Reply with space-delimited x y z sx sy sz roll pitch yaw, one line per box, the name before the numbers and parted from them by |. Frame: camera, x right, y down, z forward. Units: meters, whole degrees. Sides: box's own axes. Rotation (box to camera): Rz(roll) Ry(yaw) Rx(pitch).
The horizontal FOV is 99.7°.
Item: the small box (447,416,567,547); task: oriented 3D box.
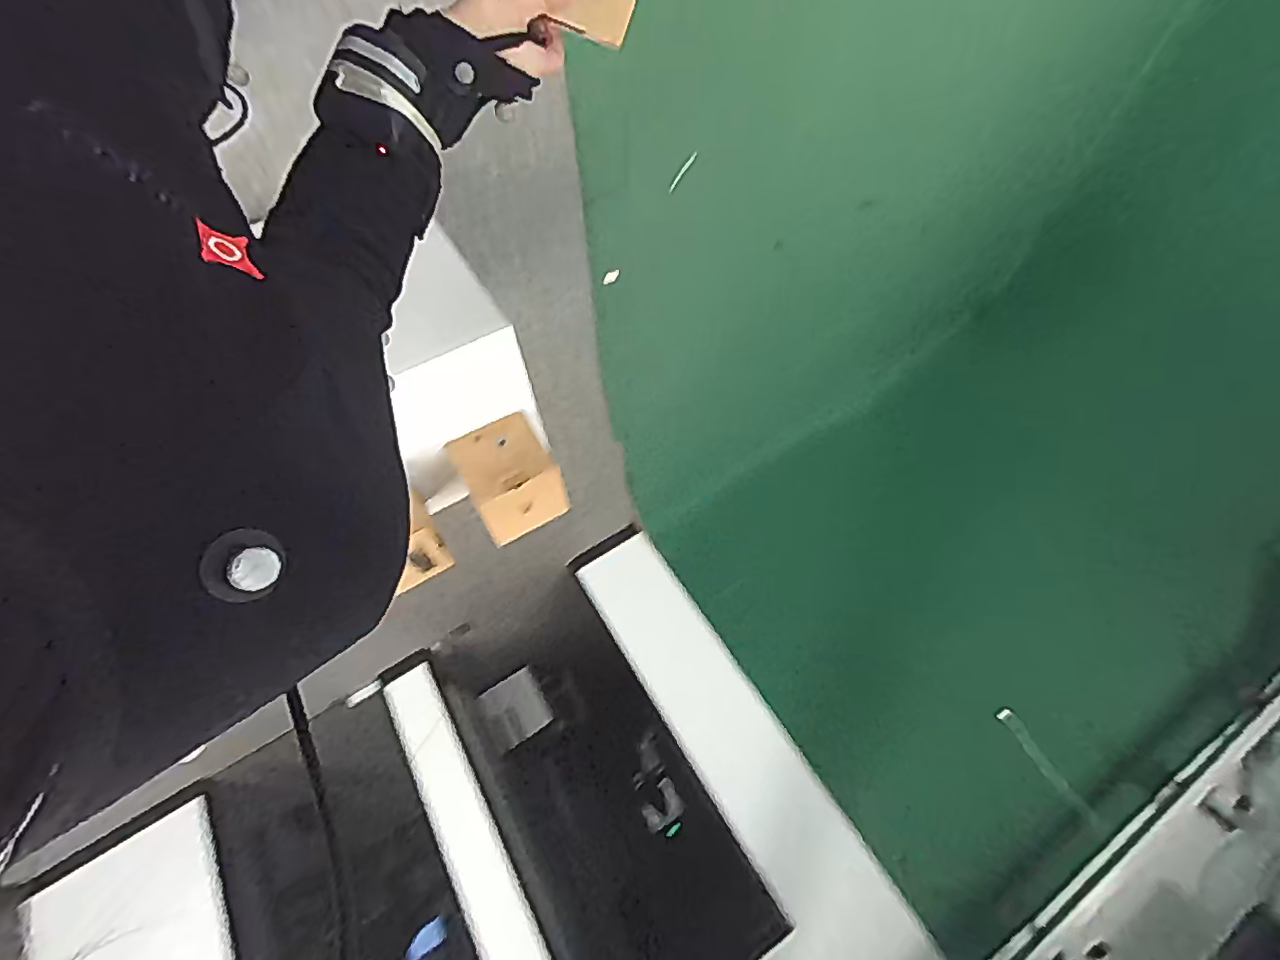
small box | -0.268 0.001 1.108 0.168 0.176 0.179 -28 151 -15
